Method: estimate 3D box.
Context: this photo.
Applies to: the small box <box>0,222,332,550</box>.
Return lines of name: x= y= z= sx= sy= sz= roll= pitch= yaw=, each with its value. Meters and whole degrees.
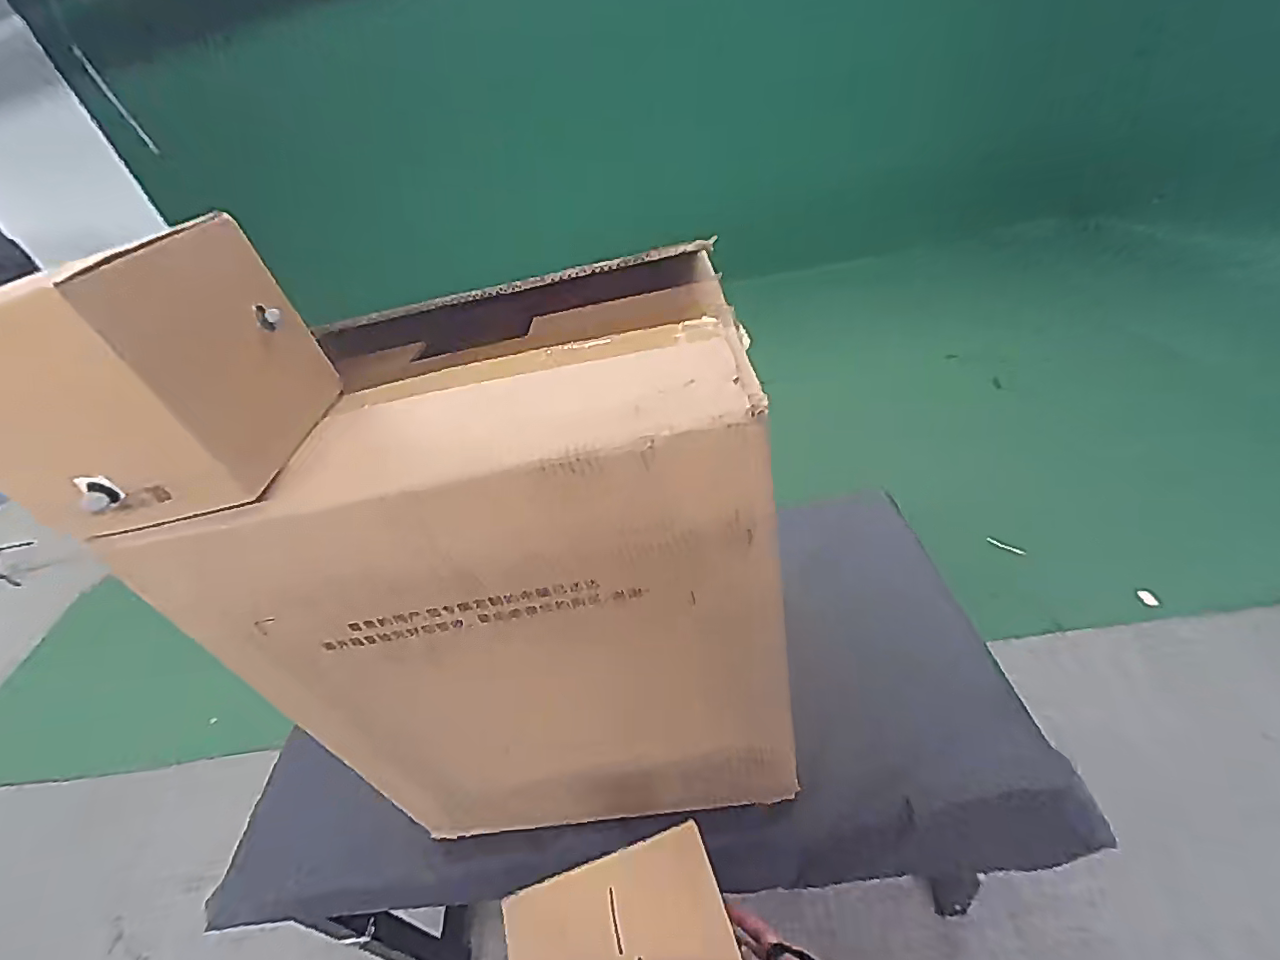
small box: x=-0.381 y=-0.075 z=0.422 sx=0.168 sy=0.176 sz=0.179 roll=-14 pitch=39 yaw=6
